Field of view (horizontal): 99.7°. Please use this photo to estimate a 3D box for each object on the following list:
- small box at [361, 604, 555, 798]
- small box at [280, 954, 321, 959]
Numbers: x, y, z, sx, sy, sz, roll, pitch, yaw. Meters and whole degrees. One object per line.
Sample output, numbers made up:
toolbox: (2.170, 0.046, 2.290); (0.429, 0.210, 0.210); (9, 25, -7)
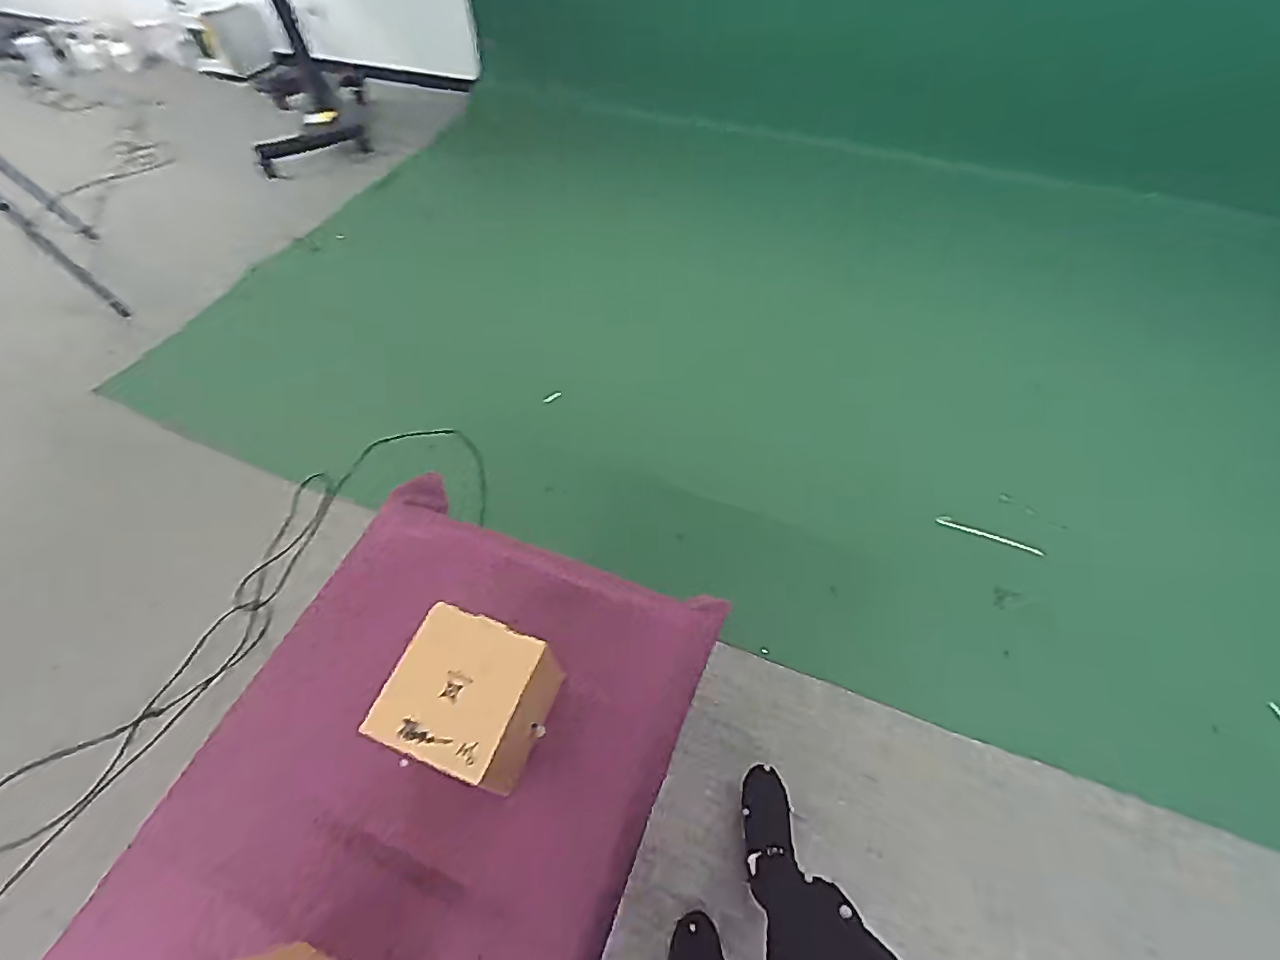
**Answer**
small box: (-0.226, 0.302, 0.733); (0.168, 0.176, 0.179); (17, 57, 13)
small box: (-0.364, 0.605, 0.528); (0.179, 0.176, 0.168); (15, 57, 13)
